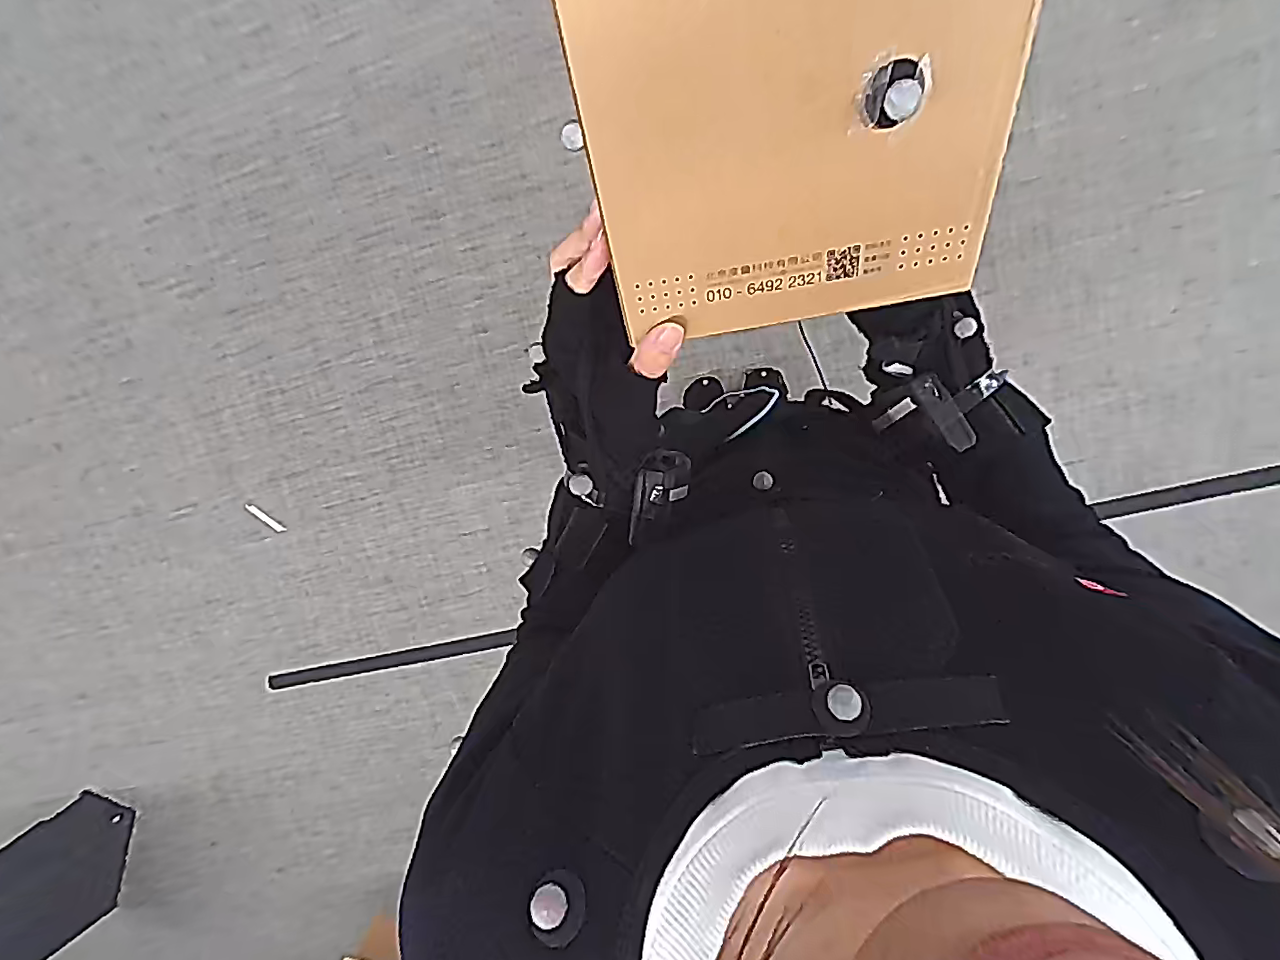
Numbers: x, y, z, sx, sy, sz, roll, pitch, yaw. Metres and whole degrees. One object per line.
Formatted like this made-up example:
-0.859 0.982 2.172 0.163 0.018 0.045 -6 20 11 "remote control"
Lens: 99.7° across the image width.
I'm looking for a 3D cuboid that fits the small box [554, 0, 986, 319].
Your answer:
0.062 -0.200 0.292 0.168 0.179 0.176 -7 134 7 "small box"
